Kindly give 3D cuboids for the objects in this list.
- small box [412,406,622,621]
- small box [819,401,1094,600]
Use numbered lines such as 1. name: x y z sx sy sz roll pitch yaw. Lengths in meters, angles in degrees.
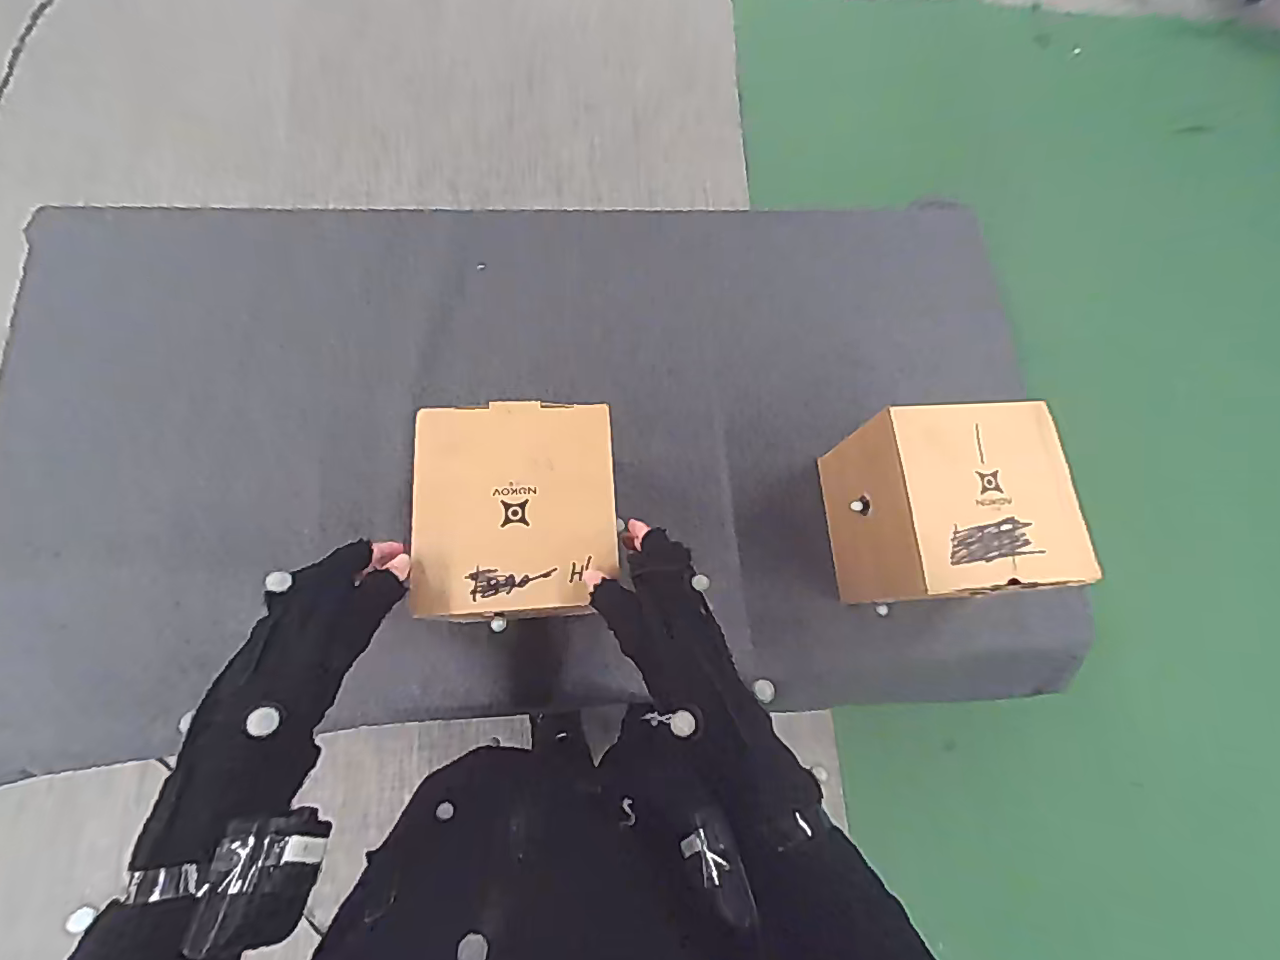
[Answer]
1. small box: -0.109 0.041 0.525 0.168 0.176 0.179 -2 75 -7
2. small box: 0.309 0.032 0.570 0.168 0.176 0.179 -3 74 -7
